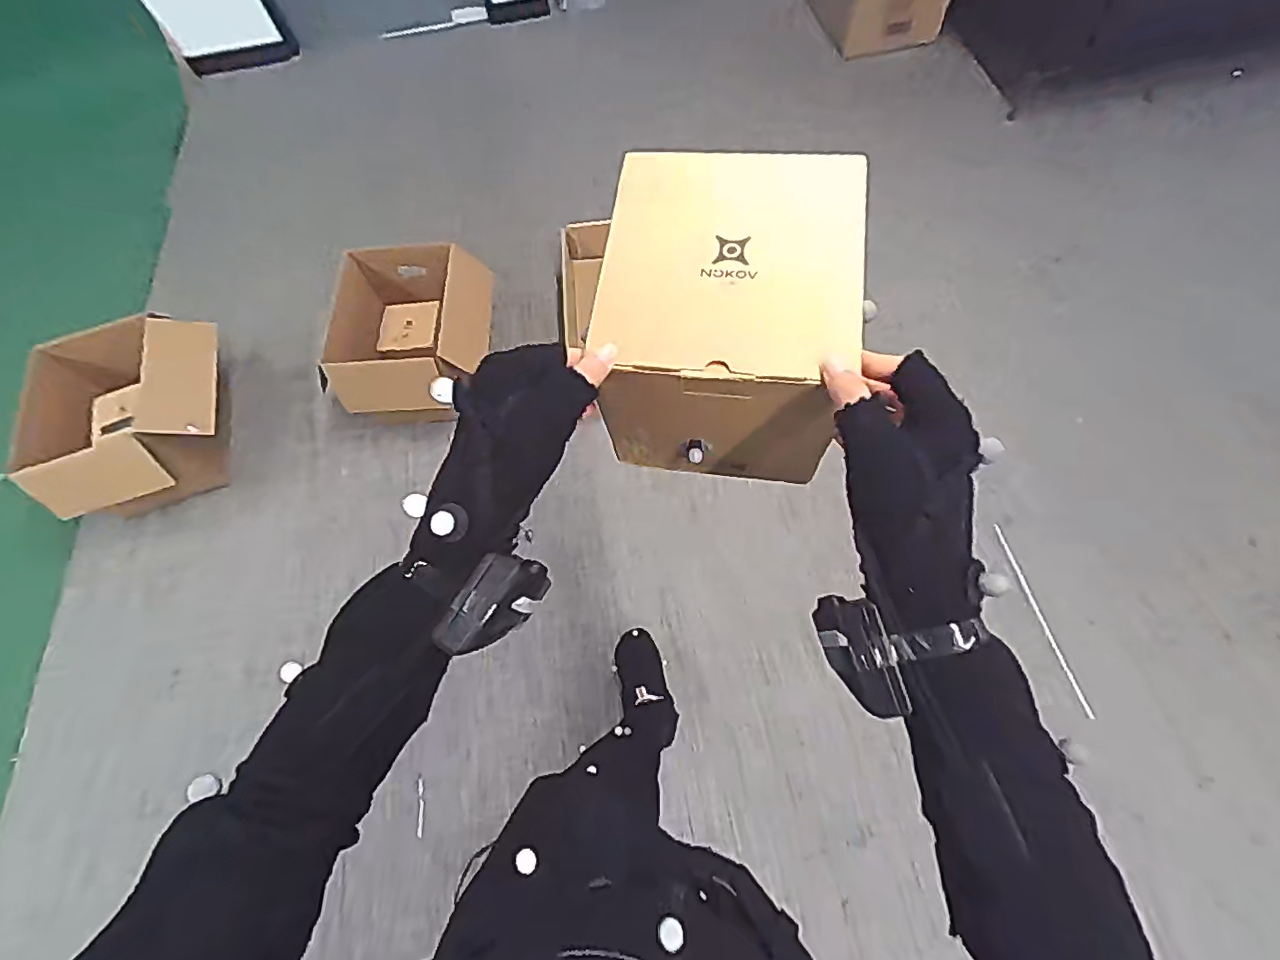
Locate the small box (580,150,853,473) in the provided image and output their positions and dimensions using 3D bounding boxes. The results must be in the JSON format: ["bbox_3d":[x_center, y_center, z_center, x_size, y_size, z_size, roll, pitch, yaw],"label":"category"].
[{"bbox_3d":[0.061,-0.122,0.430,0.168,0.176,0.179,6,71,8],"label":"small box"}]
